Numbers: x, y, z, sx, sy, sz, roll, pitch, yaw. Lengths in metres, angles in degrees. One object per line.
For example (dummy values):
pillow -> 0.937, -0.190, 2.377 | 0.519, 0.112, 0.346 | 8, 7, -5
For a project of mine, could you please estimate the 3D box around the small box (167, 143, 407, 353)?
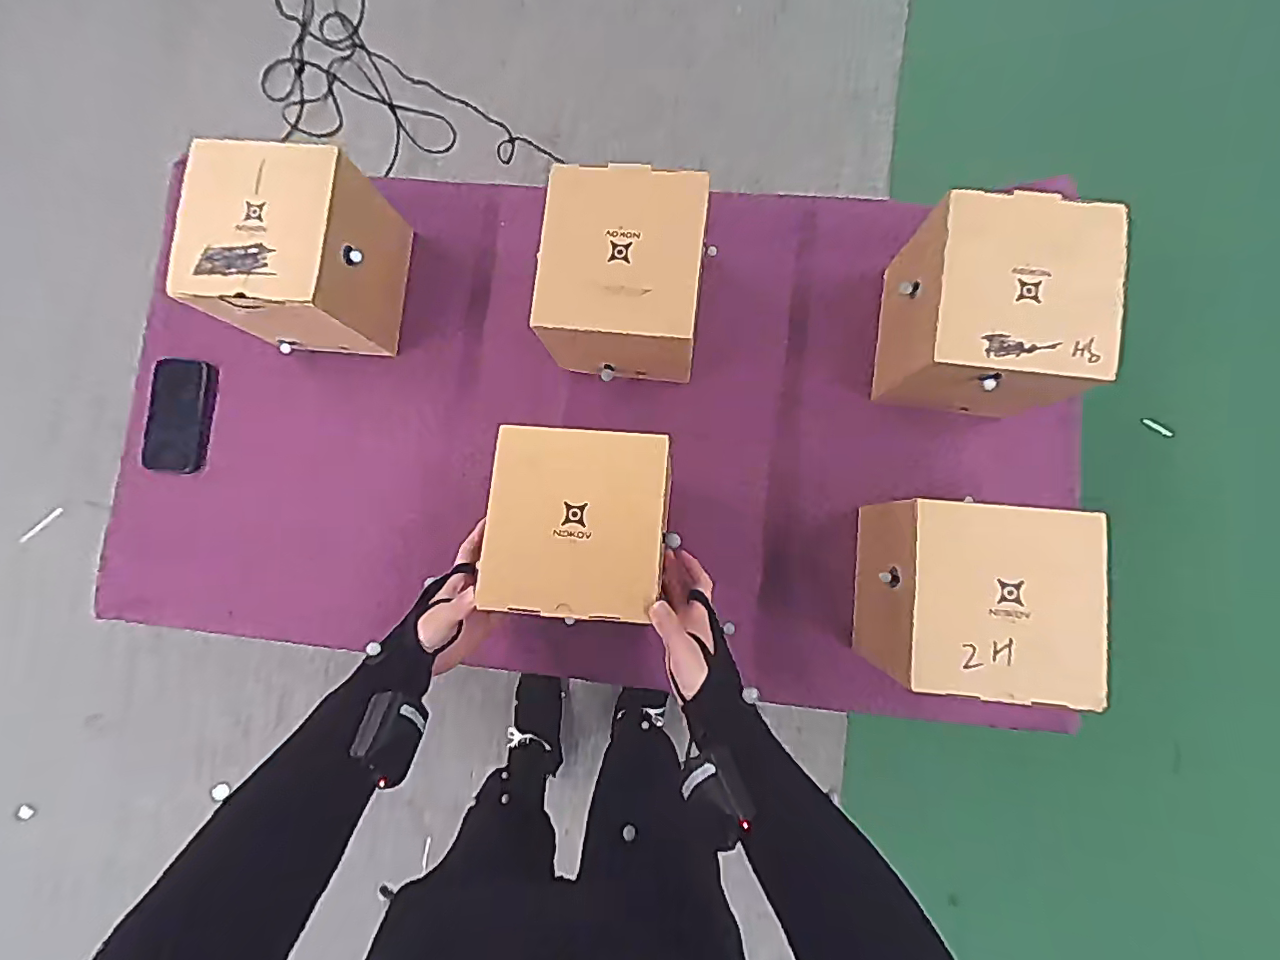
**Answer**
small box -> -0.402, -0.263, 0.646 | 0.168, 0.176, 0.179 | 5, 85, 5

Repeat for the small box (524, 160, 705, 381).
small box -> -0.020, -0.227, 0.619 | 0.168, 0.176, 0.179 | 6, 86, 5

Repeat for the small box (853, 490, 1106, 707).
small box -> 0.330, 0.110, 0.558 | 0.168, 0.176, 0.179 | 5, 85, 6

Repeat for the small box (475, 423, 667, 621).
small box -> -0.059, 0.051, 0.579 | 0.168, 0.176, 0.179 | 4, 79, 4

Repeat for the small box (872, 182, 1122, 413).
small box -> 0.367, -0.184, 0.586 | 0.168, 0.176, 0.179 | 7, 85, 6
